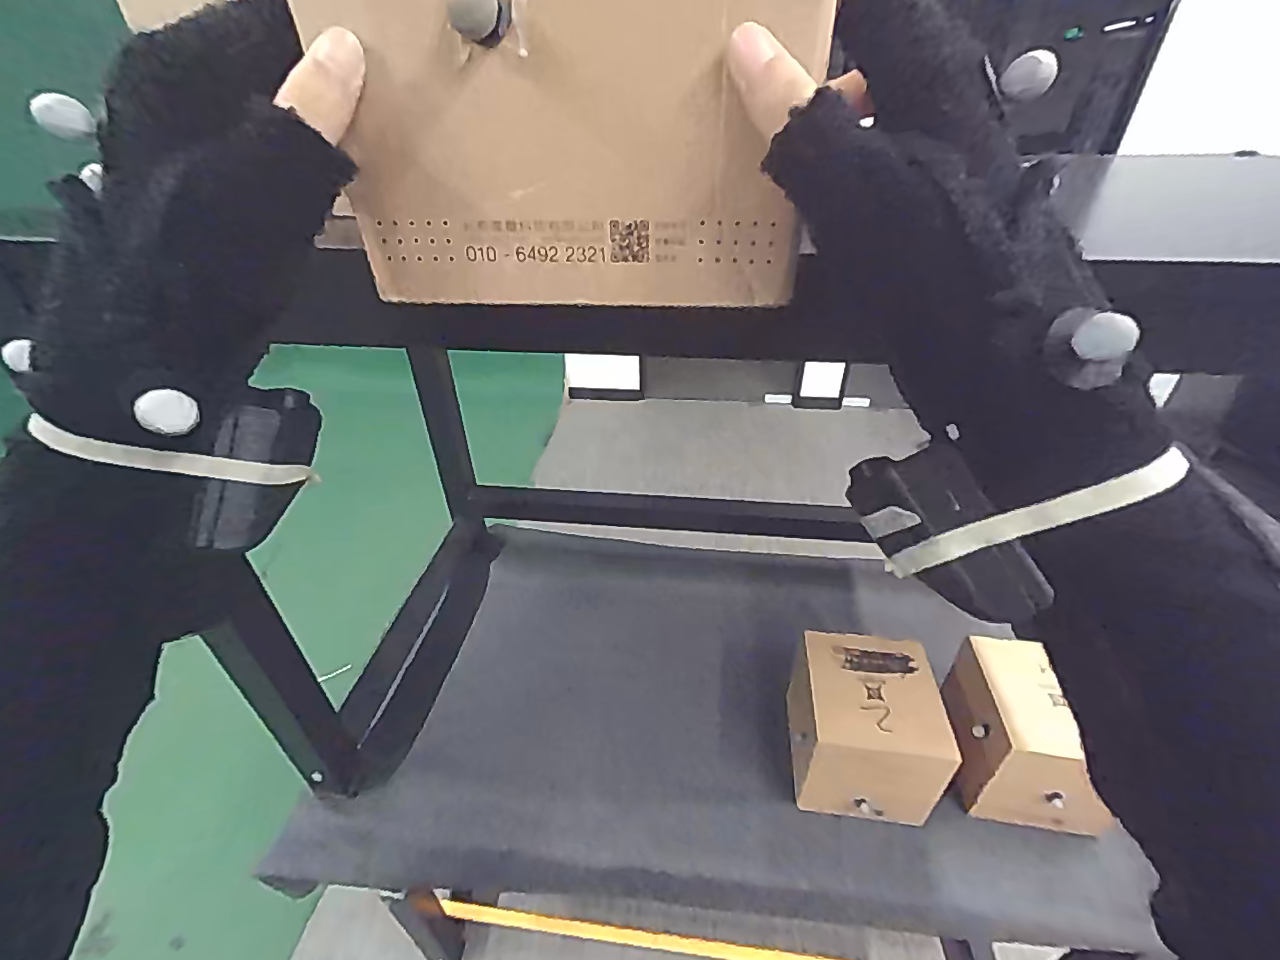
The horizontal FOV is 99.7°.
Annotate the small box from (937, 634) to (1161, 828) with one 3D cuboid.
[{"bbox_3d":[0.537,0.343,0.744,0.168,0.176,0.179,5,34,9],"label":"small box"}]
